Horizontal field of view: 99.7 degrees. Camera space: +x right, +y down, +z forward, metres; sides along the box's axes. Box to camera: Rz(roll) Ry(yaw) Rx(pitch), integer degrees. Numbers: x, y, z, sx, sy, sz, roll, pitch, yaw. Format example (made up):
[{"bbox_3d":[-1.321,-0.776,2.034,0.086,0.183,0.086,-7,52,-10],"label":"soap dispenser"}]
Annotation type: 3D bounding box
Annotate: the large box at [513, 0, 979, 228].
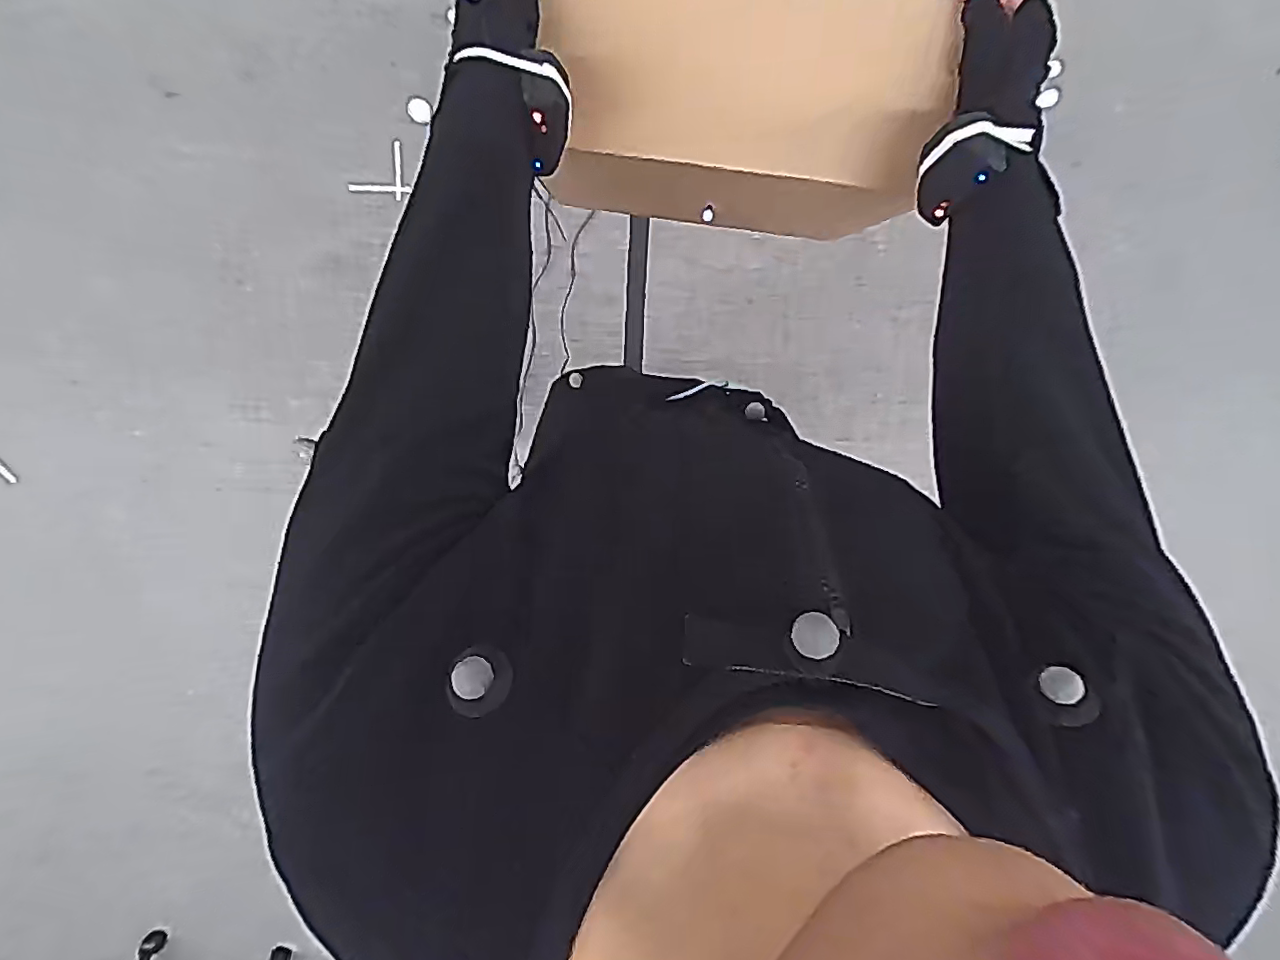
[{"bbox_3d":[0.097,-0.480,0.596,0.408,0.320,0.320,6,106,-2],"label":"large box"}]
